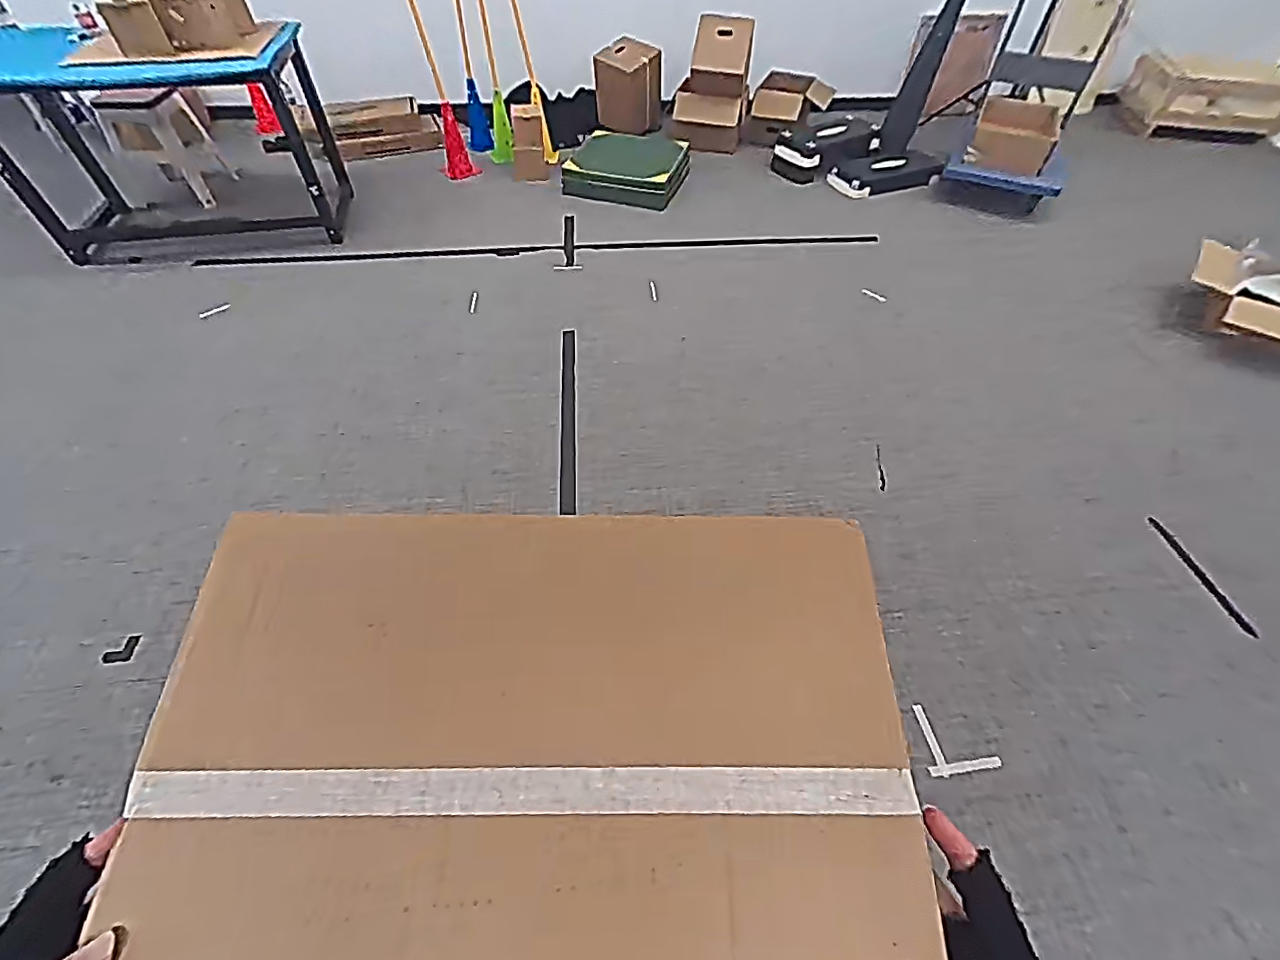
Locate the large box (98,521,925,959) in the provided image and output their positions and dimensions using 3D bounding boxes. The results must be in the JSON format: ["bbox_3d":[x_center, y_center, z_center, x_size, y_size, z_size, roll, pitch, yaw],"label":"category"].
[{"bbox_3d":[-0.063,0.233,0.426,0.408,0.320,0.320,1,64,-1],"label":"large box"}]
